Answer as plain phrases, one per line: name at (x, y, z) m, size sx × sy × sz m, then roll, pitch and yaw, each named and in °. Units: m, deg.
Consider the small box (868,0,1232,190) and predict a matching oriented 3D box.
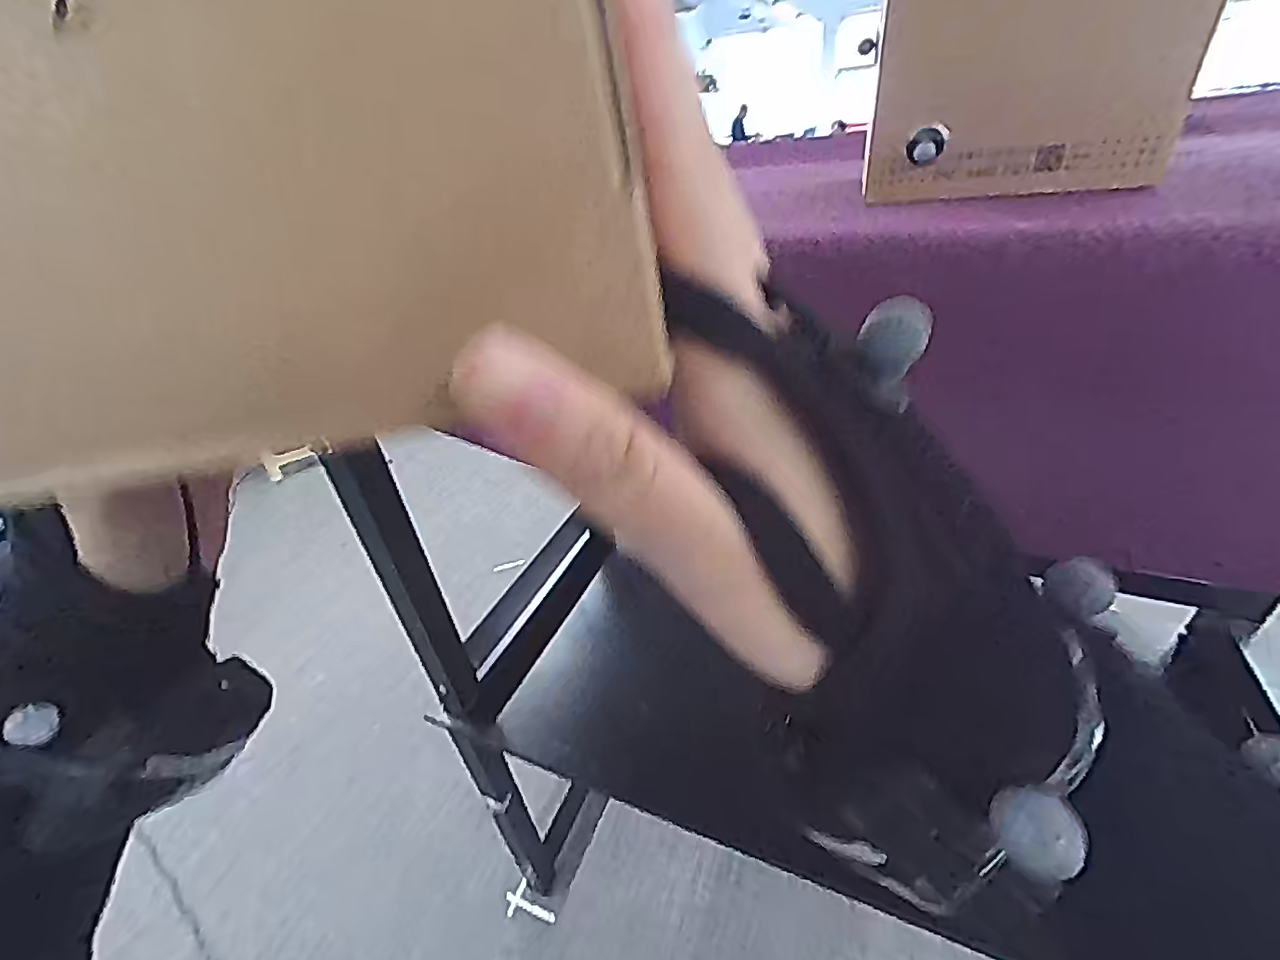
small box at (0.251, -0.295, 0.358) m, size 0.168 × 0.176 × 0.179 m, roll 6°, pitch 34°, yaw 18°
